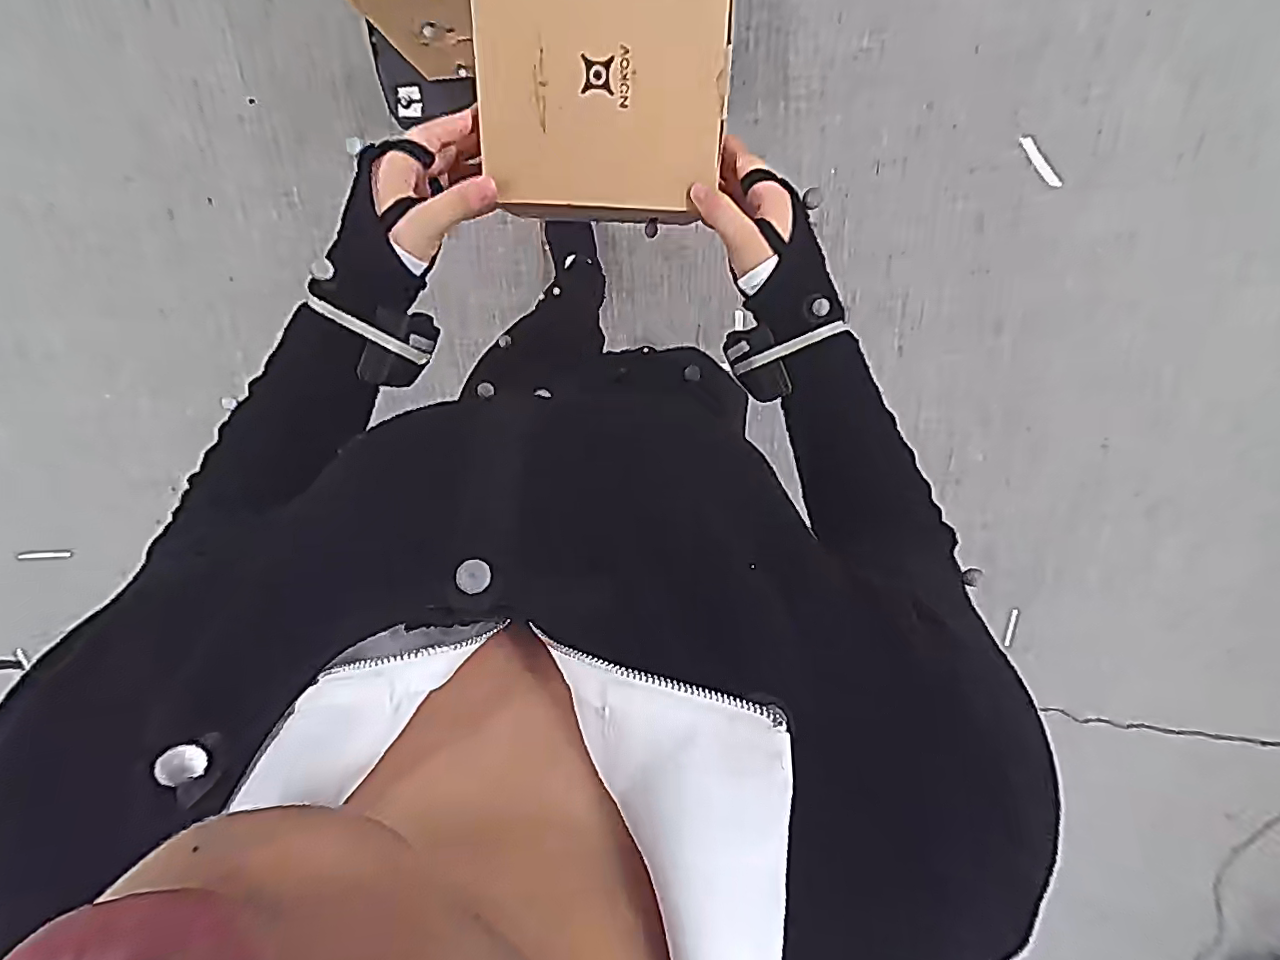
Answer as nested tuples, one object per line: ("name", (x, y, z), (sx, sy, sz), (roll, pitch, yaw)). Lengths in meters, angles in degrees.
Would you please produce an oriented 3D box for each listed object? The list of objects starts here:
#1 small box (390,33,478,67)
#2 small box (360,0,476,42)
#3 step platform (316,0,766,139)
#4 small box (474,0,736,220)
("small box", (-0.322, -0.807, 0.906), (0.168, 0.176, 0.179), (-4, 111, 0))
("small box", (-0.320, -0.753, 0.751), (0.168, 0.176, 0.179), (-6, 111, 1))
("step platform", (-0.154, -0.762, 0.890), (0.684, 0.204, 0.286), (-5, 111, 0))
("small box", (-0.029, -0.313, 0.443), (0.179, 0.176, 0.168), (0, 111, -3))
